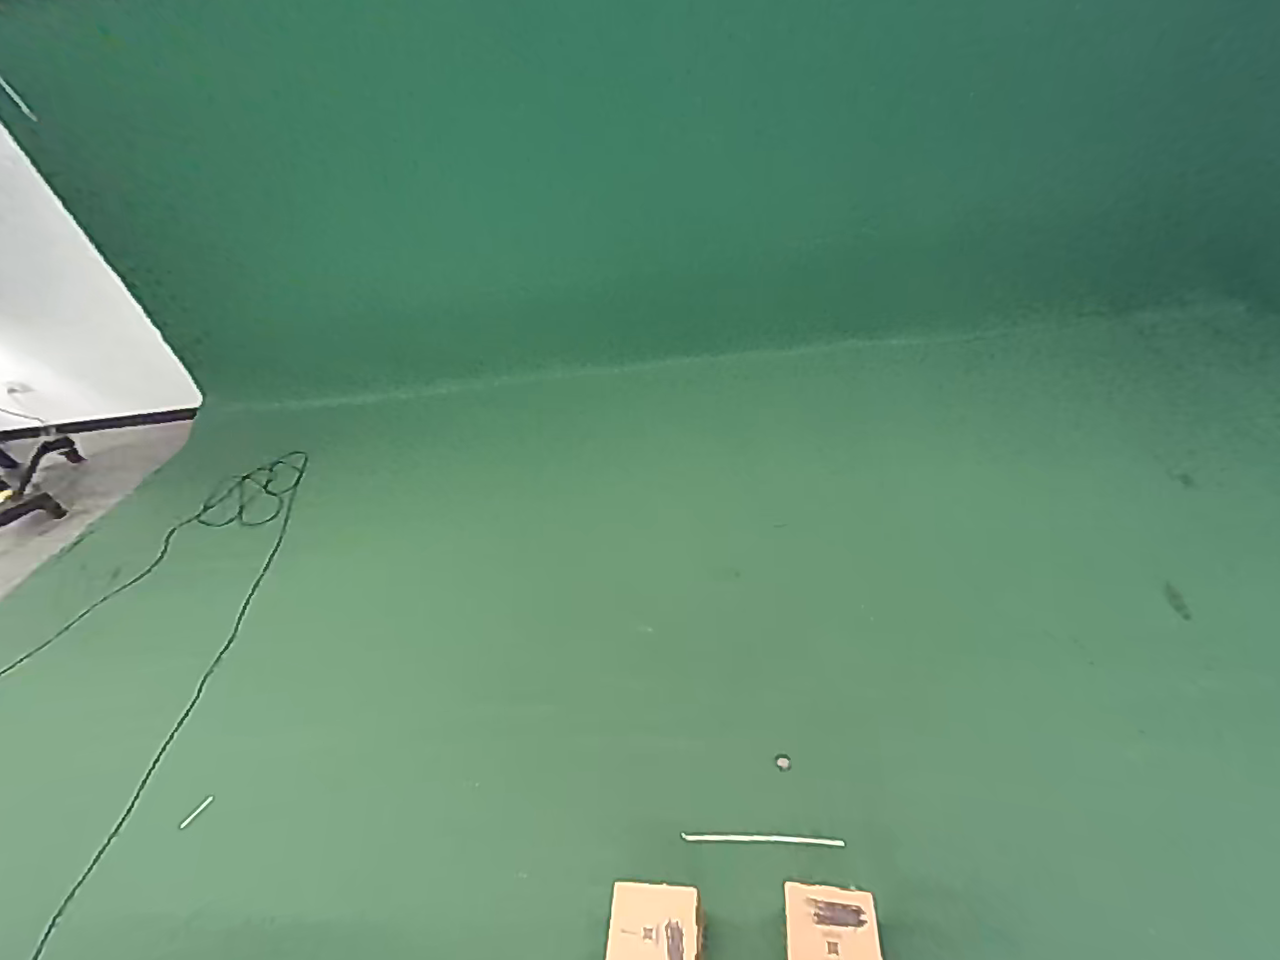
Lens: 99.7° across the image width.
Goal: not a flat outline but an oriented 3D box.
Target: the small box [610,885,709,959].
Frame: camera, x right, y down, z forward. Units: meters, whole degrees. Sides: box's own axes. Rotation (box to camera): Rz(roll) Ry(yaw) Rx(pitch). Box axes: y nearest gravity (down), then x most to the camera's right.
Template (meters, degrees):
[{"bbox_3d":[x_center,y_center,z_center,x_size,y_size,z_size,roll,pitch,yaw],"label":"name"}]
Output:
[{"bbox_3d":[0.045,0.954,1.099,0.179,0.176,0.168,-5,39,12],"label":"small box"}]
